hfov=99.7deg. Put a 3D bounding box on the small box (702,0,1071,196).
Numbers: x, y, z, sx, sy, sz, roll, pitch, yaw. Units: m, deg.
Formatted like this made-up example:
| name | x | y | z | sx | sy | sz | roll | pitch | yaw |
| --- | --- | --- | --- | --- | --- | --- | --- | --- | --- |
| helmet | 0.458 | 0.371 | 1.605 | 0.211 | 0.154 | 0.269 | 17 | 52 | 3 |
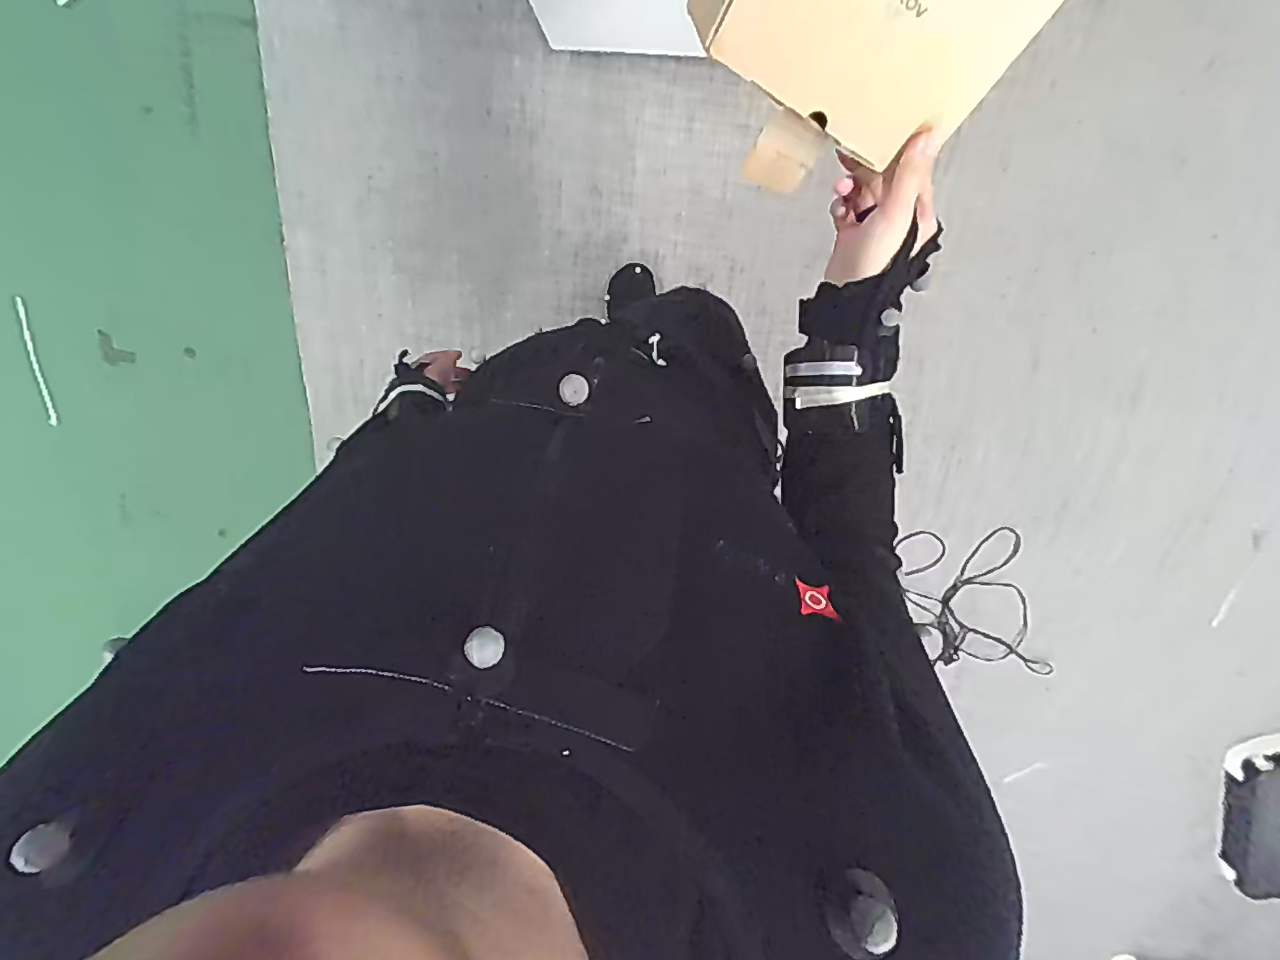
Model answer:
| name | x | y | z | sx | sy | sz | roll | pitch | yaw |
| --- | --- | --- | --- | --- | --- | --- | --- | --- | --- |
| small box | 0.151 | -0.333 | 0.347 | 0.168 | 0.176 | 0.179 | 19 | 135 | -20 |
